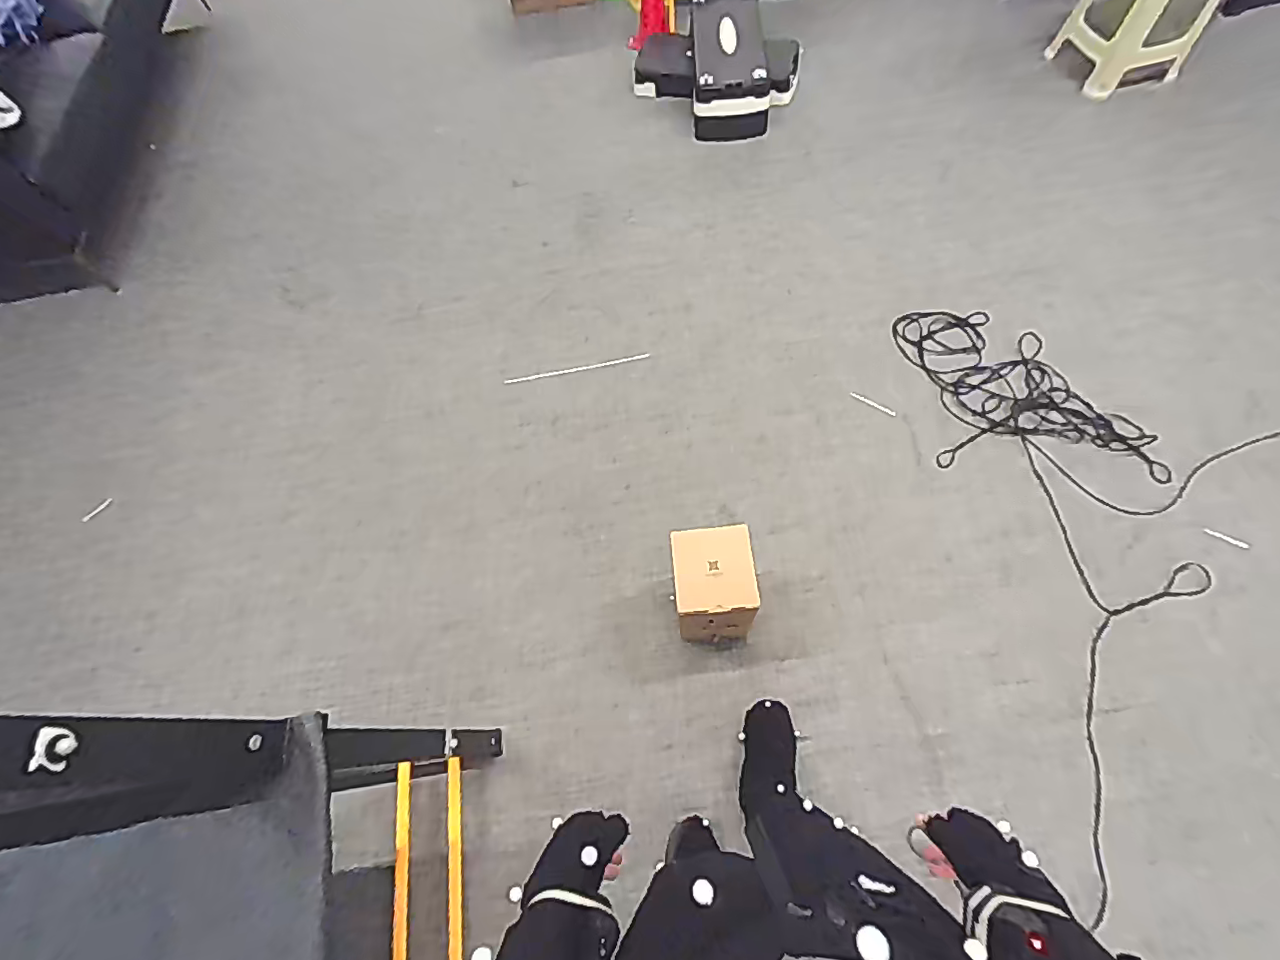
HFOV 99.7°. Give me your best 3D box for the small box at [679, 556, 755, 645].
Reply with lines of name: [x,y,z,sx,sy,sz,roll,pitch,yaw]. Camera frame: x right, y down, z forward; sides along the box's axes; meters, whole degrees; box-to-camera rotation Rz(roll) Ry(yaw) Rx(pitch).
small box: [0.182,0.298,1.324,0.168,0.176,0.179,-5,65,5]
